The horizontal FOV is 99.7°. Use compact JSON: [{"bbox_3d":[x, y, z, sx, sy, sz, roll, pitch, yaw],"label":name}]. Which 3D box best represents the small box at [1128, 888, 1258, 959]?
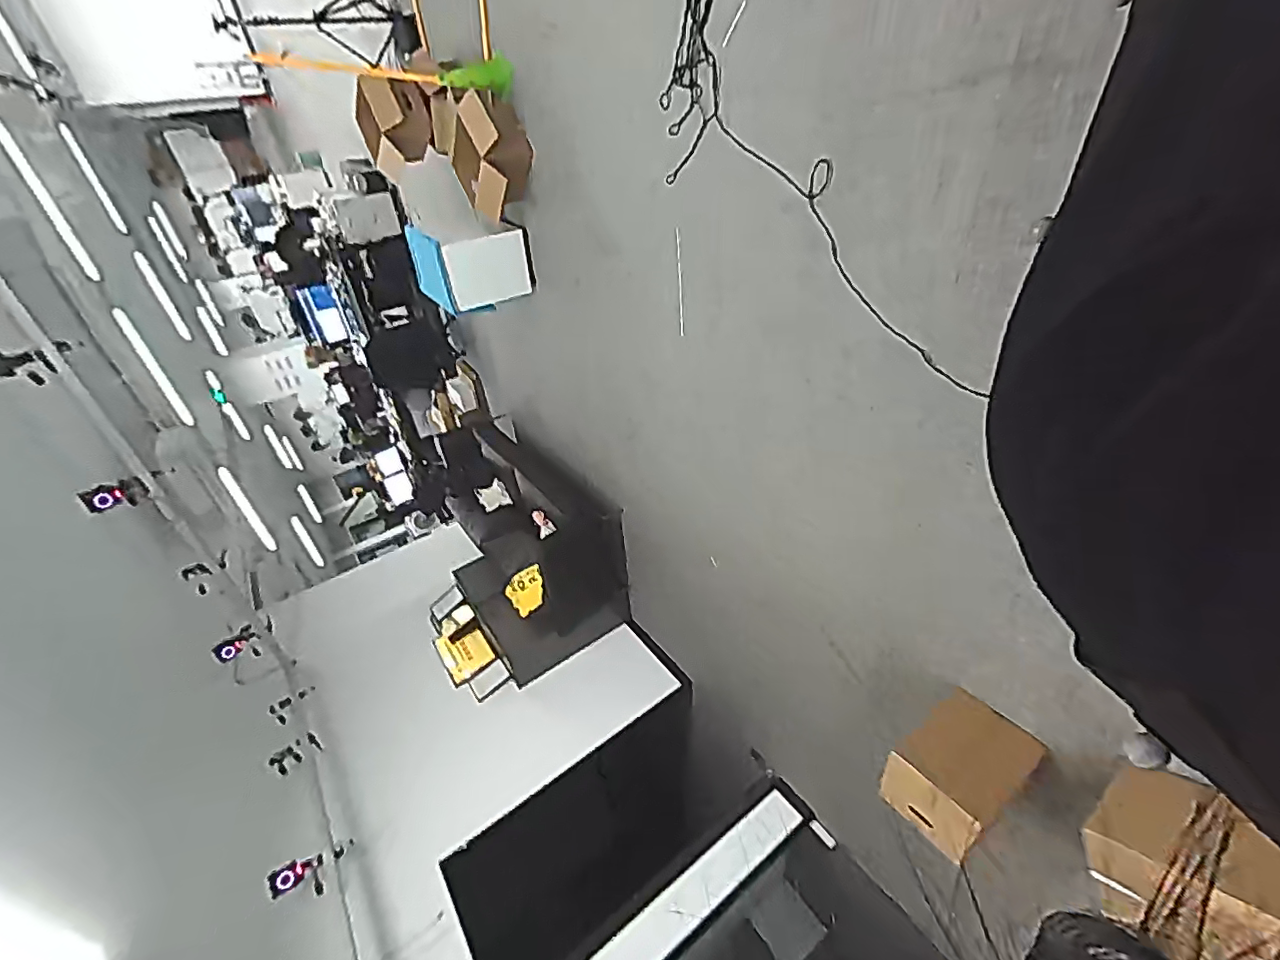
[{"bbox_3d":[1.276,1.104,1.238,0.168,0.176,0.179,-8,105,63],"label":"small box"}]

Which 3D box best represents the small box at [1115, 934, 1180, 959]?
[{"bbox_3d":[1.138,1.156,1.163,0.168,0.176,0.179,1,112,61],"label":"small box"}]
